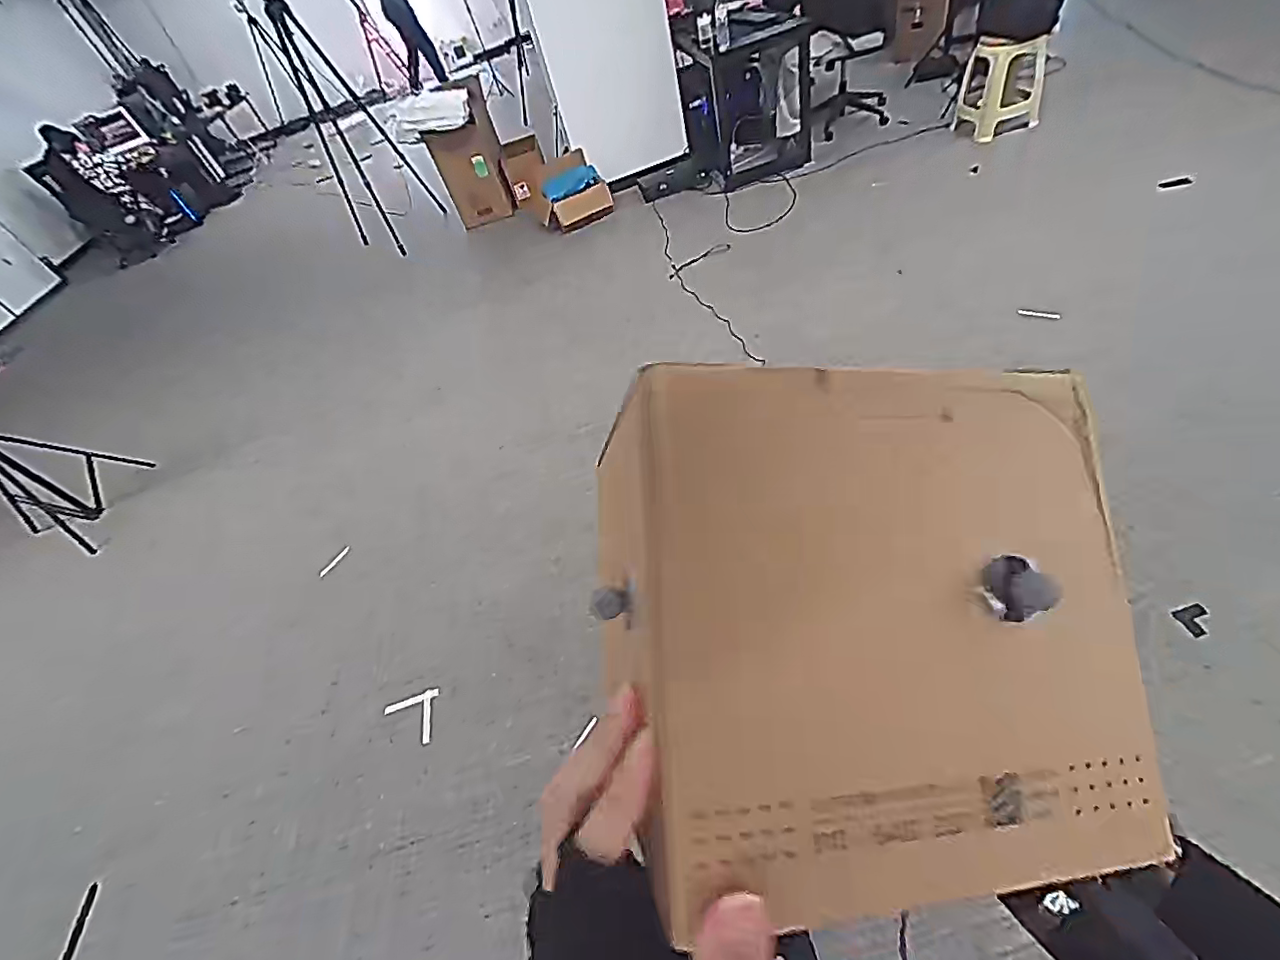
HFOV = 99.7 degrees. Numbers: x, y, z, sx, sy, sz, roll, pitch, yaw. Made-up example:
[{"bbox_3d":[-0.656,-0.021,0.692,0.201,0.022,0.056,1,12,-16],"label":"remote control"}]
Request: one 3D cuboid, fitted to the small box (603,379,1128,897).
[{"bbox_3d":[0.071,0.063,0.257,0.168,0.179,0.176,-2,81,-7],"label":"small box"}]
